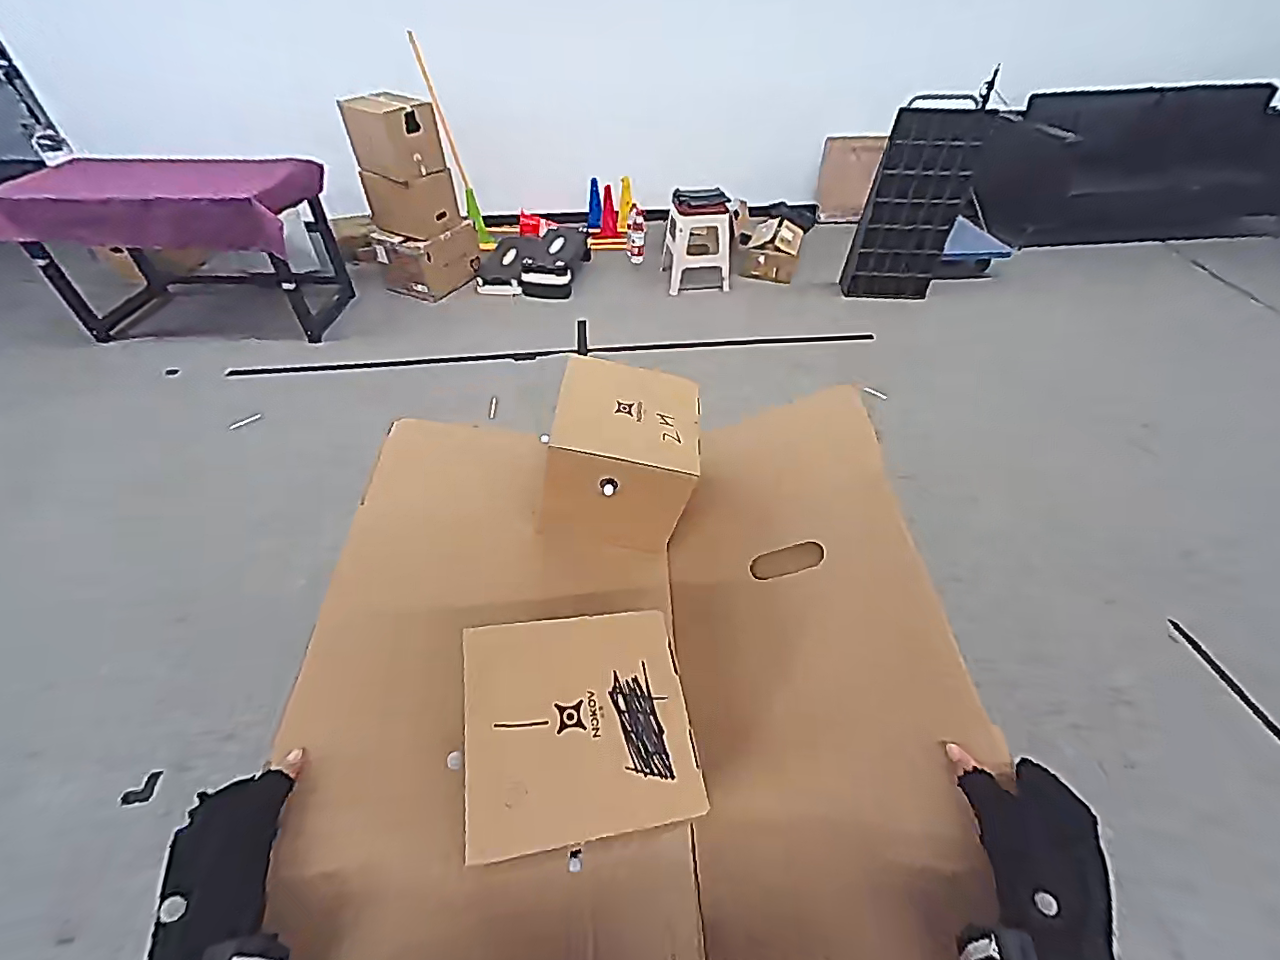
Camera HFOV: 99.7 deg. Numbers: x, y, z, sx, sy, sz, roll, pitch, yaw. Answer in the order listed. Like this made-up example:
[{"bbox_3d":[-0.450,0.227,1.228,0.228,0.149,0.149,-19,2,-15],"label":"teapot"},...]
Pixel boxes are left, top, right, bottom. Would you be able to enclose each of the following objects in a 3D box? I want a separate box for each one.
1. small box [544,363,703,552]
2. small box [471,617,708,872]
[{"bbox_3d":[-0.025,-0.024,0.718,0.179,0.176,0.168,12,50,-7],"label":"small box"},{"bbox_3d":[-0.061,0.241,0.493,0.179,0.176,0.168,-1,53,-16],"label":"small box"}]
